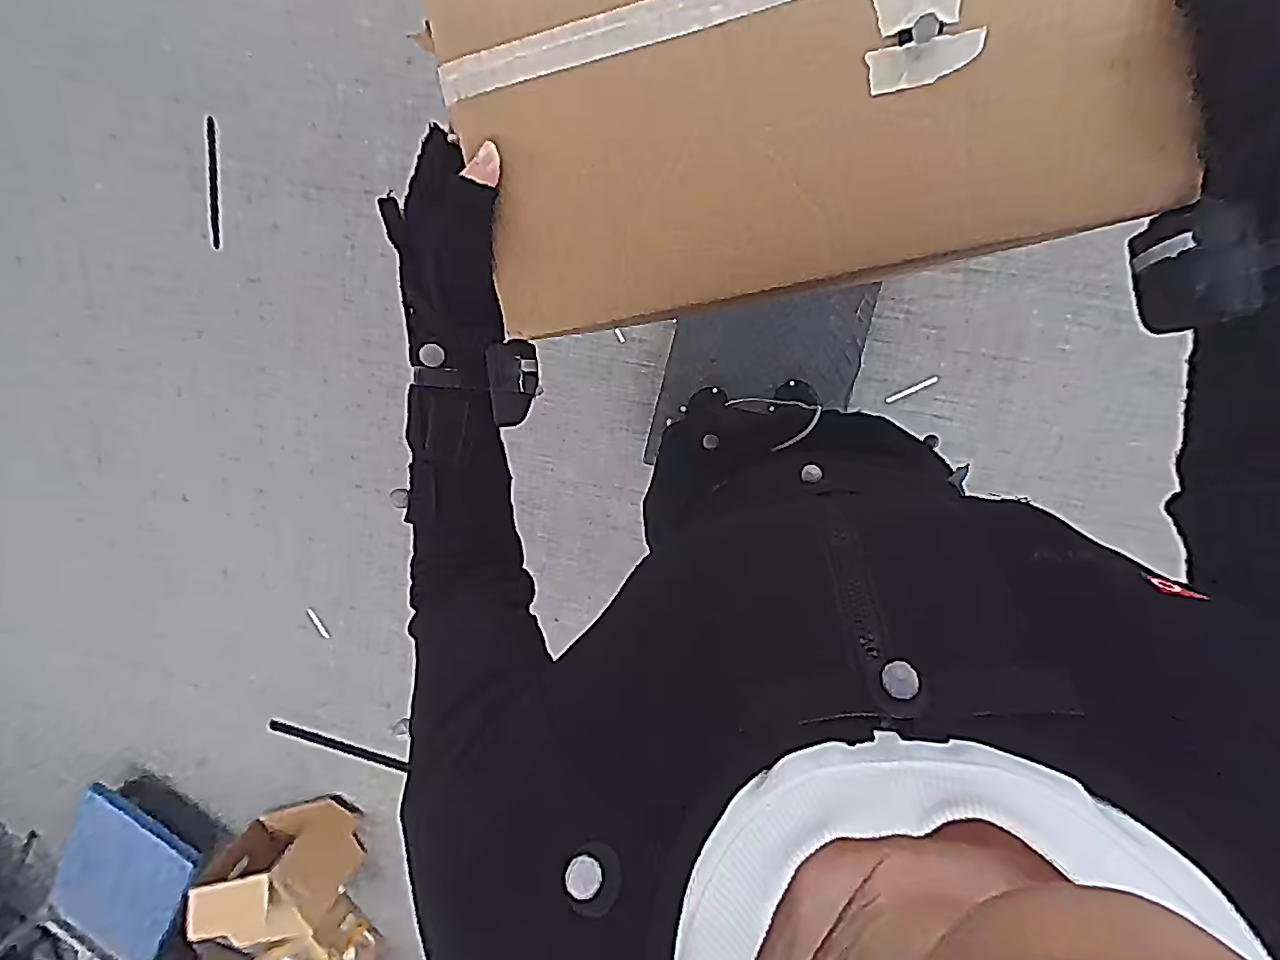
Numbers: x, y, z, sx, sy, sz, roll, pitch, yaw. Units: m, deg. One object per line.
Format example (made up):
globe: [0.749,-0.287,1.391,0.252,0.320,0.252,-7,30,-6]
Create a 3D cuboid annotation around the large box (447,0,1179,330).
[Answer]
large box: [0.100,-0.320,0.450,0.408,0.320,0.320,-8,106,10]
